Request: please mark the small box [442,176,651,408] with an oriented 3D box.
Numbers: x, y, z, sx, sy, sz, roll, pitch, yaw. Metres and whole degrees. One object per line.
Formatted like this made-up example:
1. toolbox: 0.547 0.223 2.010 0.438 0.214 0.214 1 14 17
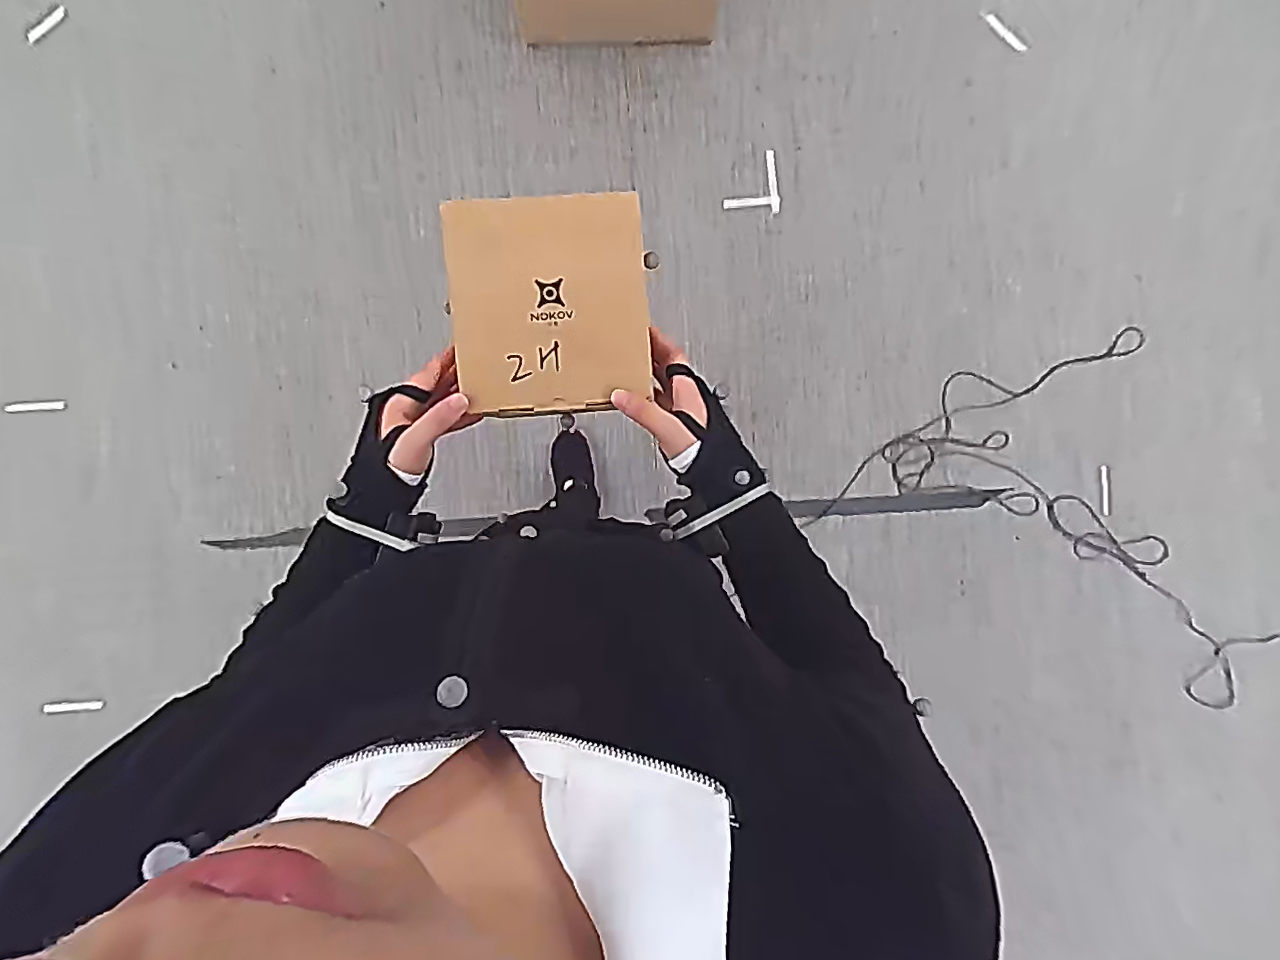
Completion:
1. small box: -0.082 -0.168 0.531 0.168 0.176 0.179 -4 95 -3
